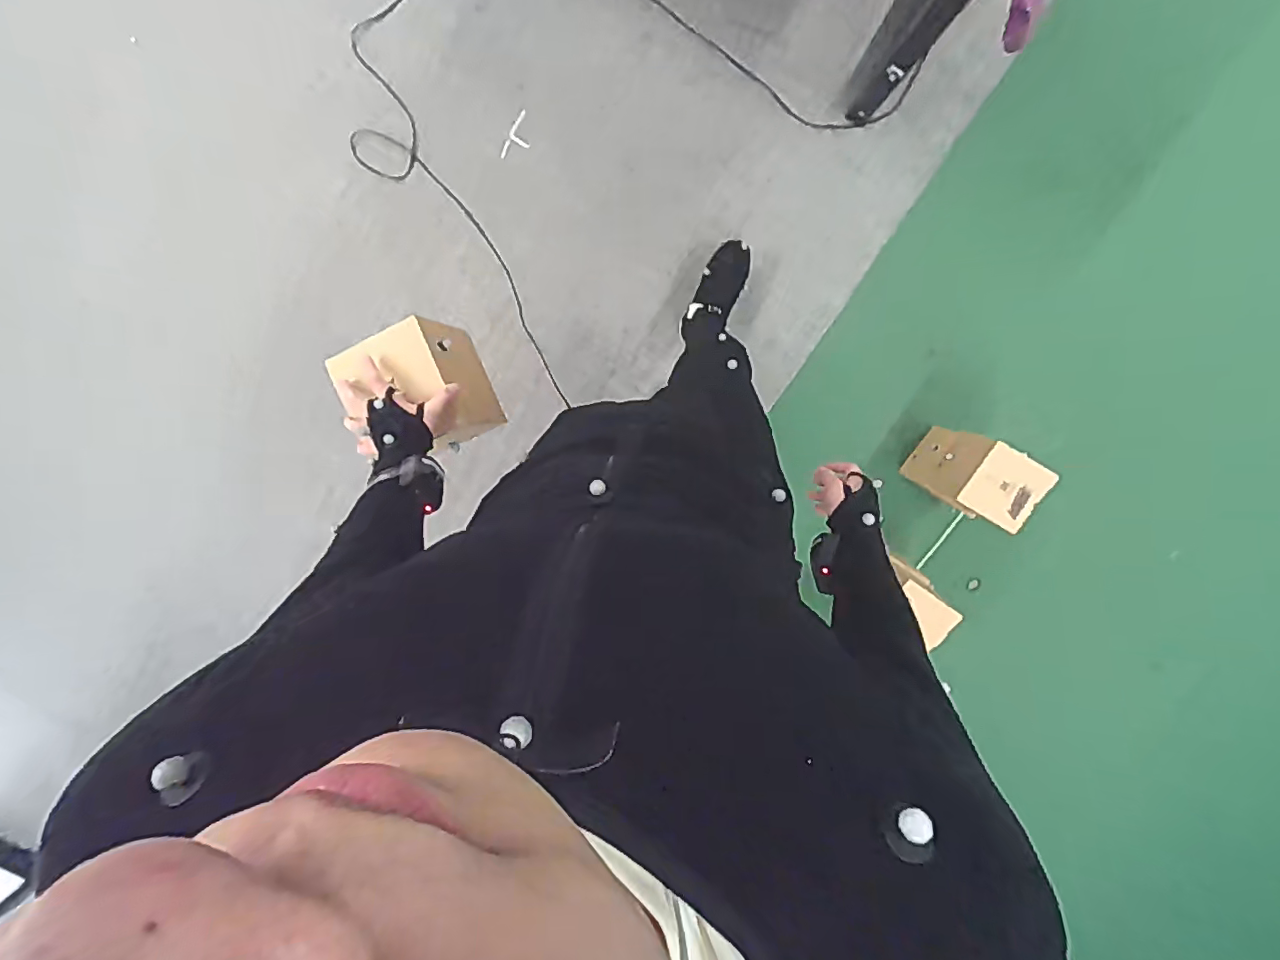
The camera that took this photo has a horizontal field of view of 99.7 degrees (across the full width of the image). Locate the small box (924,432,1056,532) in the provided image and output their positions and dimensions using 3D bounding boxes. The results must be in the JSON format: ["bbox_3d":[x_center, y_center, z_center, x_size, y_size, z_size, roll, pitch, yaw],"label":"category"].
[{"bbox_3d":[0.854,-0.004,1.337,0.179,0.176,0.168,30,103,-3],"label":"small box"}]

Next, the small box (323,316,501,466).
[{"bbox_3d":[-0.357,-0.137,0.874,0.168,0.176,0.179,-23,93,12],"label":"small box"}]

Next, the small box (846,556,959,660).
[{"bbox_3d":[0.684,0.329,1.428,0.179,0.176,0.168,35,104,-6],"label":"small box"}]

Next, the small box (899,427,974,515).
[{"bbox_3d":[0.863,-0.033,1.499,0.179,0.176,0.168,32,103,-6],"label":"small box"}]
